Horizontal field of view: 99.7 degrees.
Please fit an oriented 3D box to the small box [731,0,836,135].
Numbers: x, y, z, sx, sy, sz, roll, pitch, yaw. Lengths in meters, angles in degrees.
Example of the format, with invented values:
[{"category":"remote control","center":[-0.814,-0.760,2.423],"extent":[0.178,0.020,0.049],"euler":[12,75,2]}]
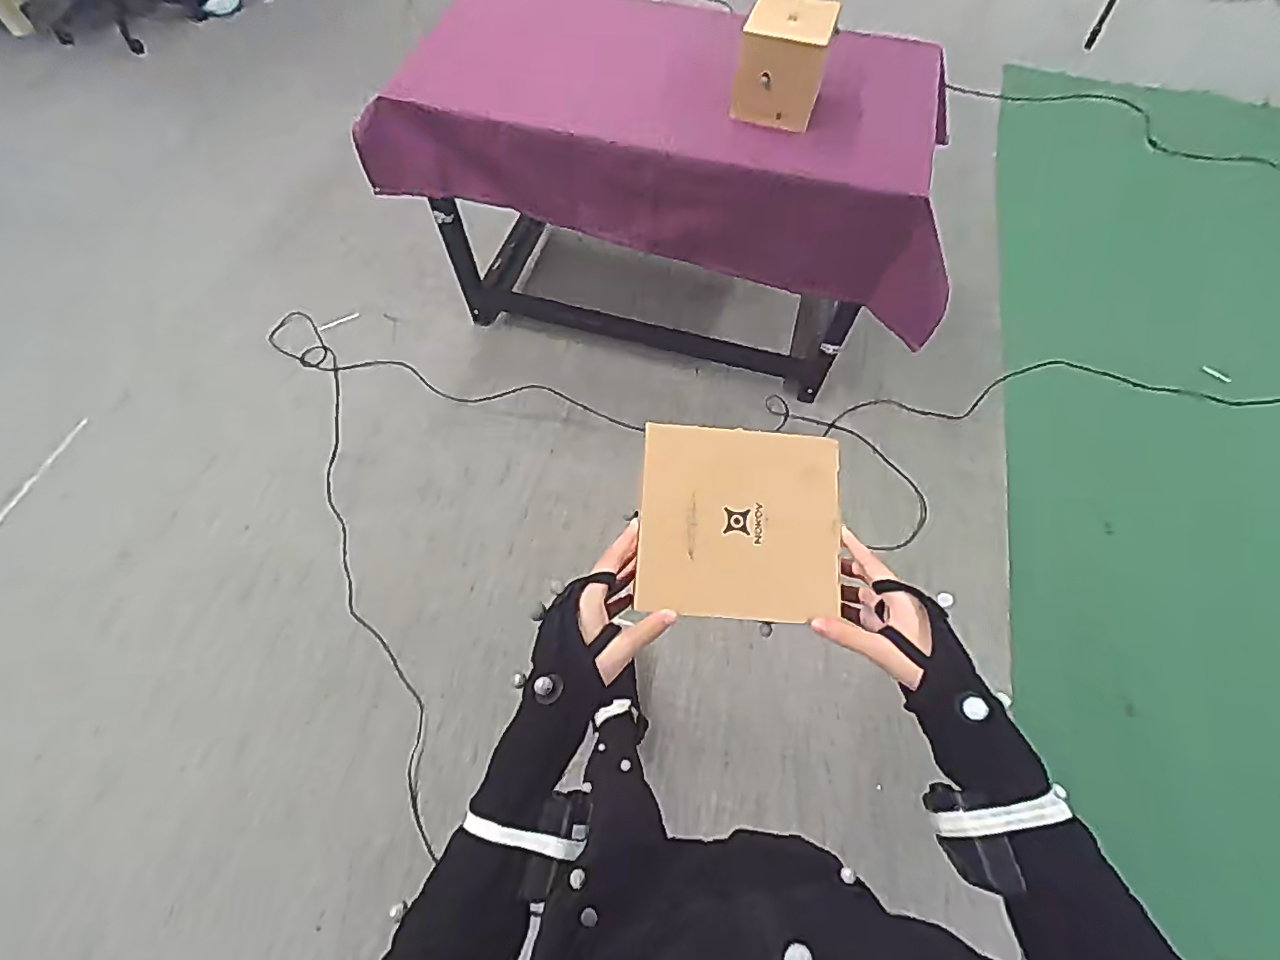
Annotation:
[{"category":"small box","center":[0.297,-0.871,1.148],"extent":[0.168,0.176,0.179],"euler":[16,63,8]}]
